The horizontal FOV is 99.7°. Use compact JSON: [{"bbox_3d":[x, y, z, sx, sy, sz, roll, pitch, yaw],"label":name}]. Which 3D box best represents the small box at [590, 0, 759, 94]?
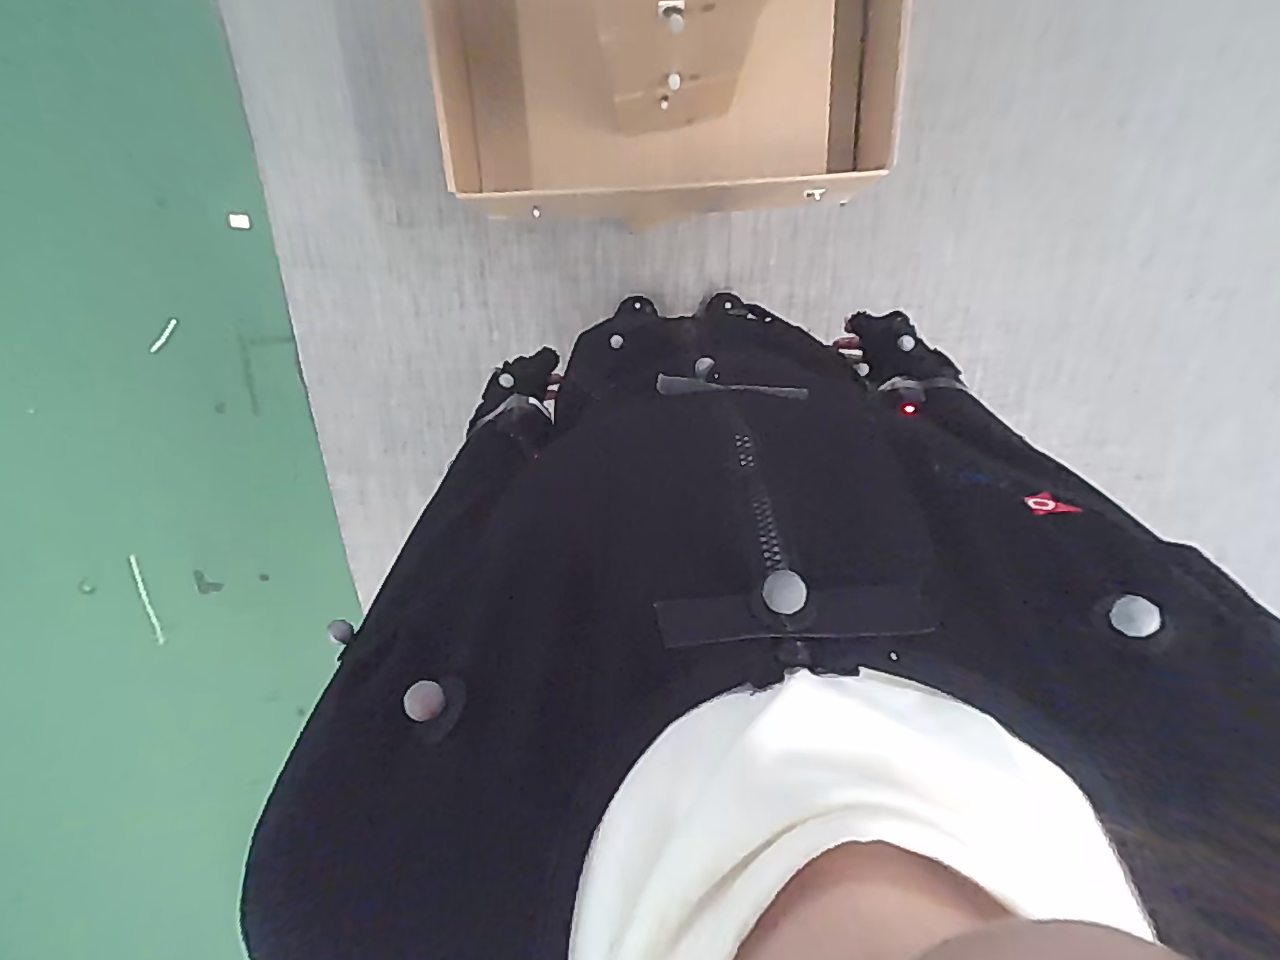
[{"bbox_3d":[0.028,-0.555,0.581,0.168,0.176,0.179,-7,109,5],"label":"small box"}]

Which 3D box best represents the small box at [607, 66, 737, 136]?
[{"bbox_3d":[0.035,-0.605,0.737,0.168,0.176,0.179,-7,107,6],"label":"small box"}]
